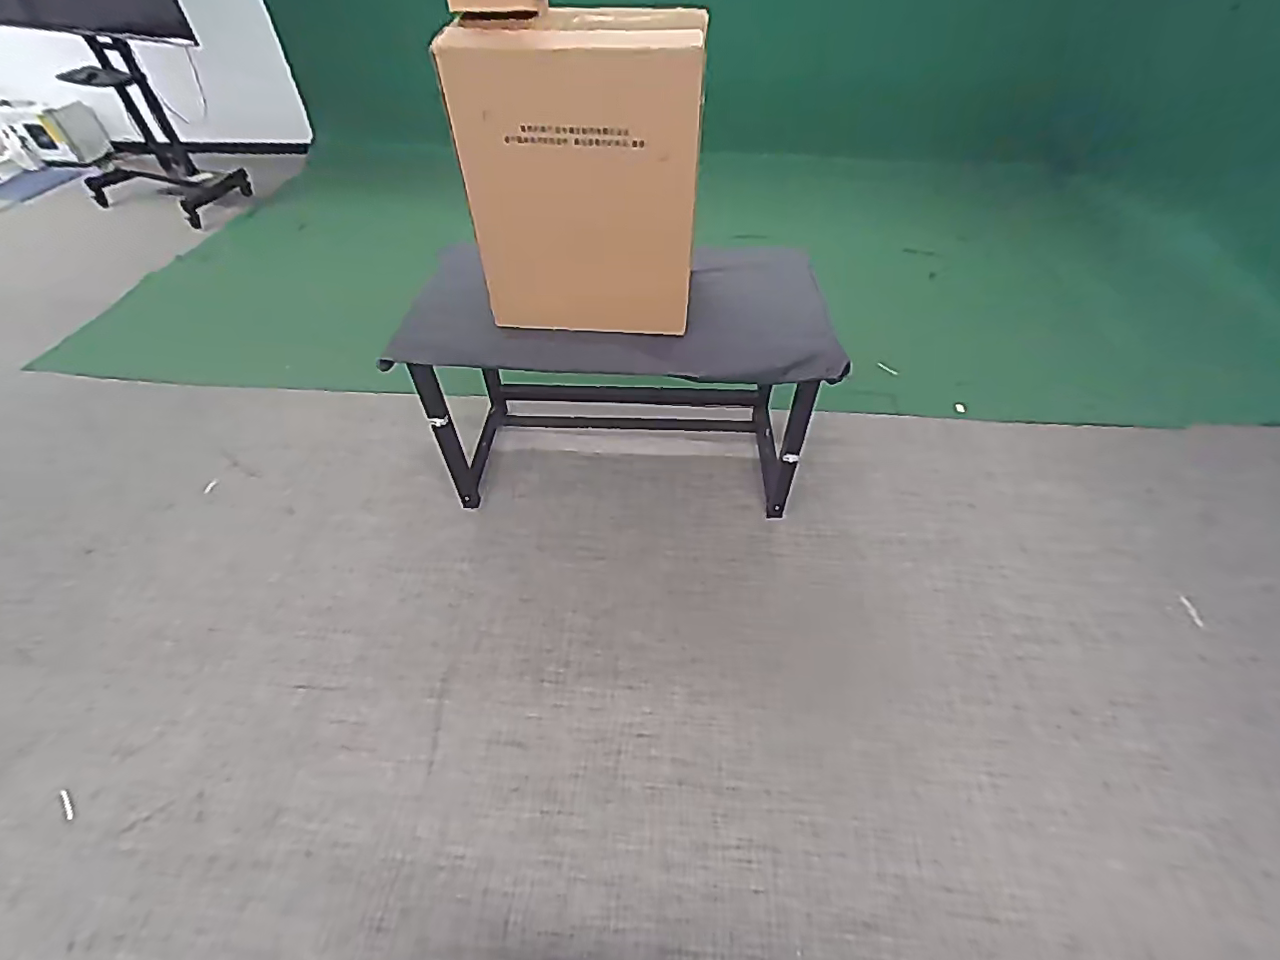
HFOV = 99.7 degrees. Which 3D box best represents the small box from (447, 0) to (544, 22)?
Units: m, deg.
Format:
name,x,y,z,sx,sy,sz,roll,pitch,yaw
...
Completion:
name,x,y,z,sx,sy,sz,roll,pitch,yaw
small box,-0.302,-1.055,1.108,0.179,0.176,0.168,3,42,1
